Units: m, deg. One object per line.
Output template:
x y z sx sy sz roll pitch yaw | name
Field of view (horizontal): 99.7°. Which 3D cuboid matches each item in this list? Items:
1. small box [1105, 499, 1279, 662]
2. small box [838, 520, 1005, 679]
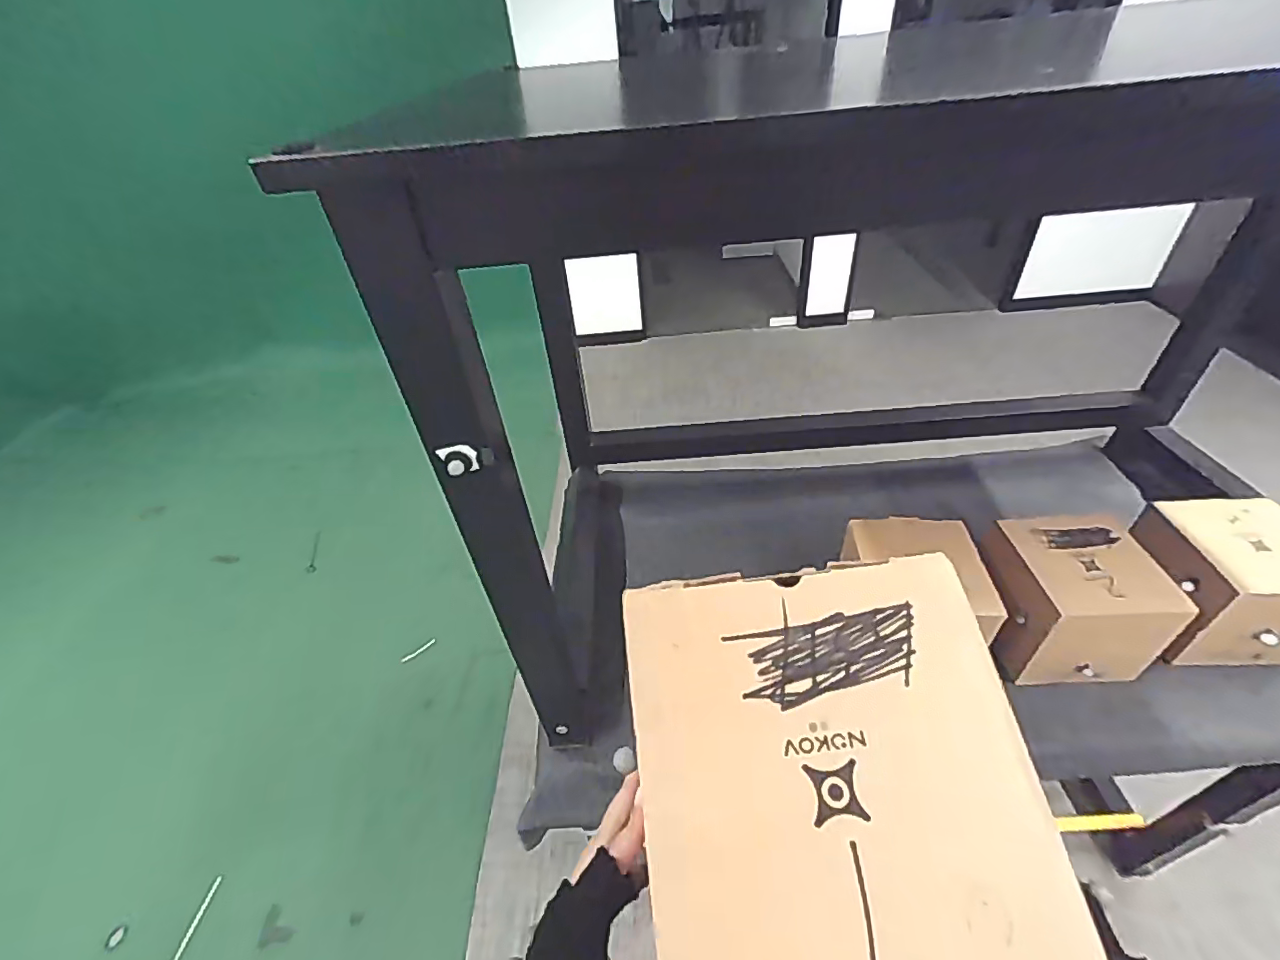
0.845 0.149 0.787 0.168 0.176 0.179 -2 40 5 | small box
0.405 0.179 0.814 0.168 0.176 0.179 0 40 8 | small box
